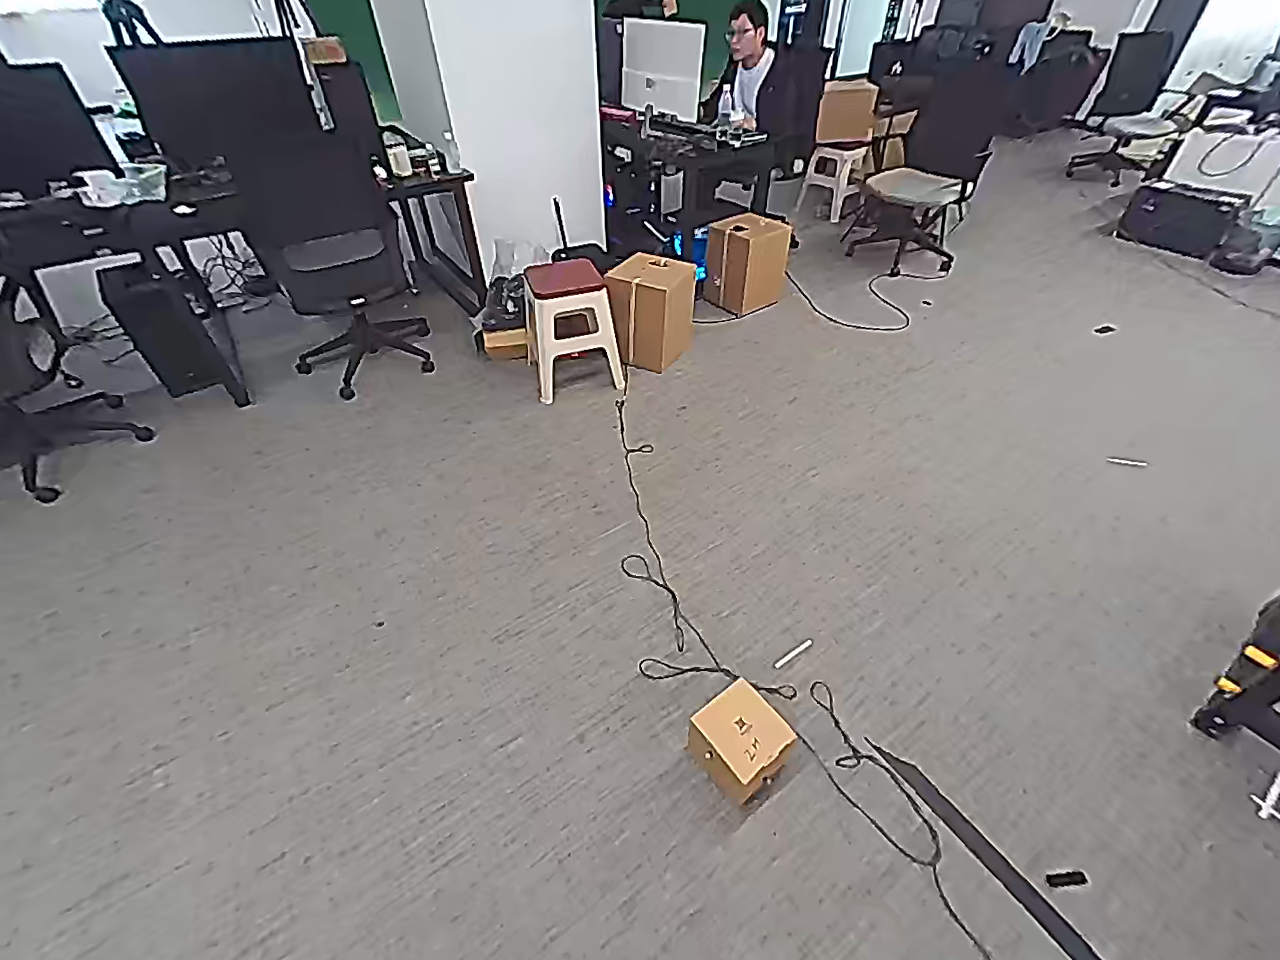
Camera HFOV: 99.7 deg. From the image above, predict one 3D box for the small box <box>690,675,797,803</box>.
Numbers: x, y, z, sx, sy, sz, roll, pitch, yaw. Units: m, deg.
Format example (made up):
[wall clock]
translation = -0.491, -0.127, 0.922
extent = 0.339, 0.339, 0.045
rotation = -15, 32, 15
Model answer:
[small box]
translation = 0.228, 0.597, 1.244
extent = 0.168, 0.176, 0.179
rotation = -28, 50, -25
